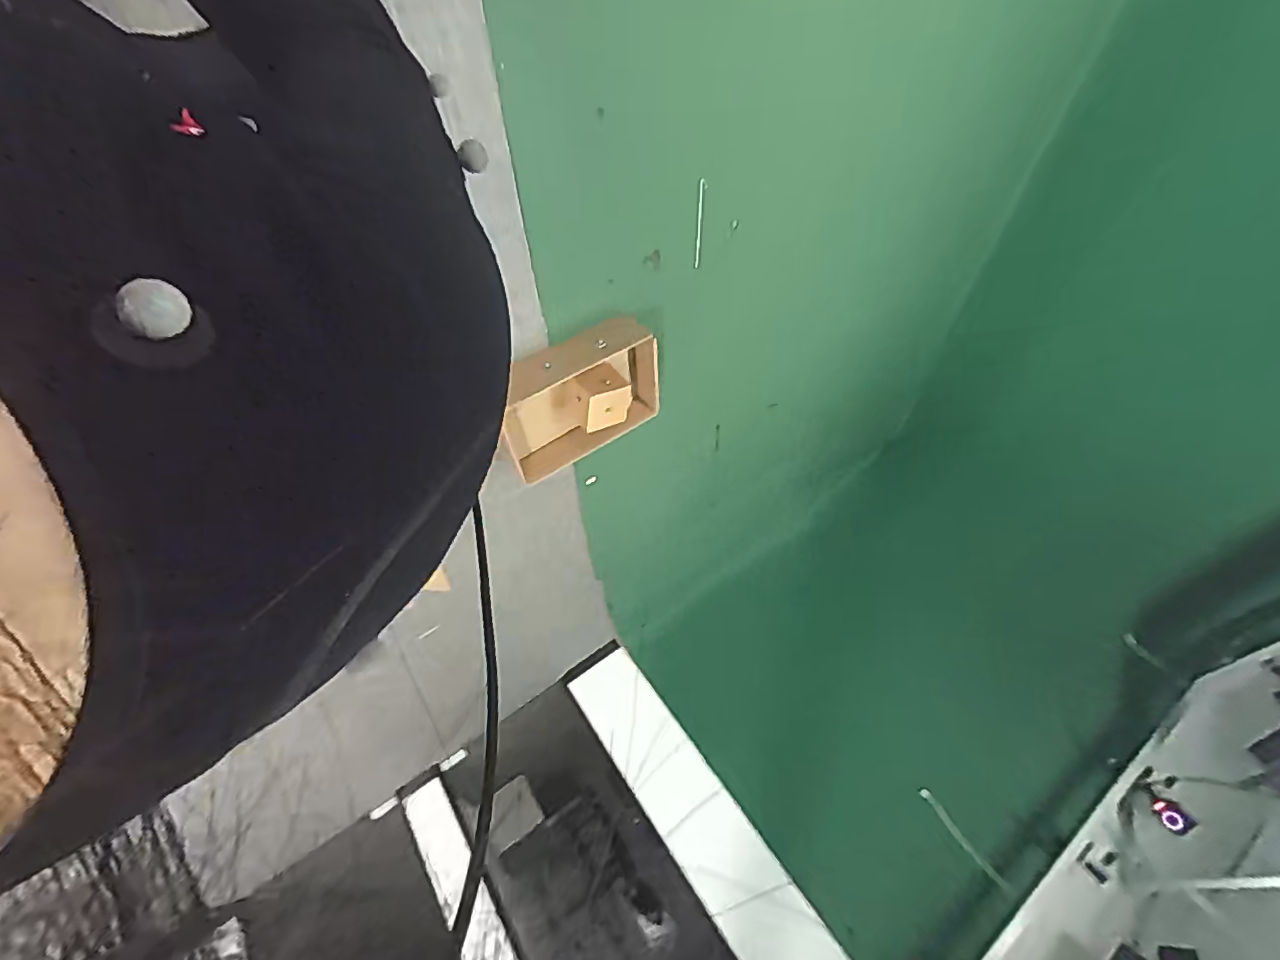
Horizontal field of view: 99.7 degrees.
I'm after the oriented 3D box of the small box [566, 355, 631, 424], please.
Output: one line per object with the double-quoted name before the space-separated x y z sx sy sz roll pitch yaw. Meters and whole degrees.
"small box" -0.157 -0.336 1.984 0.179 0.176 0.168 -23 144 -28
